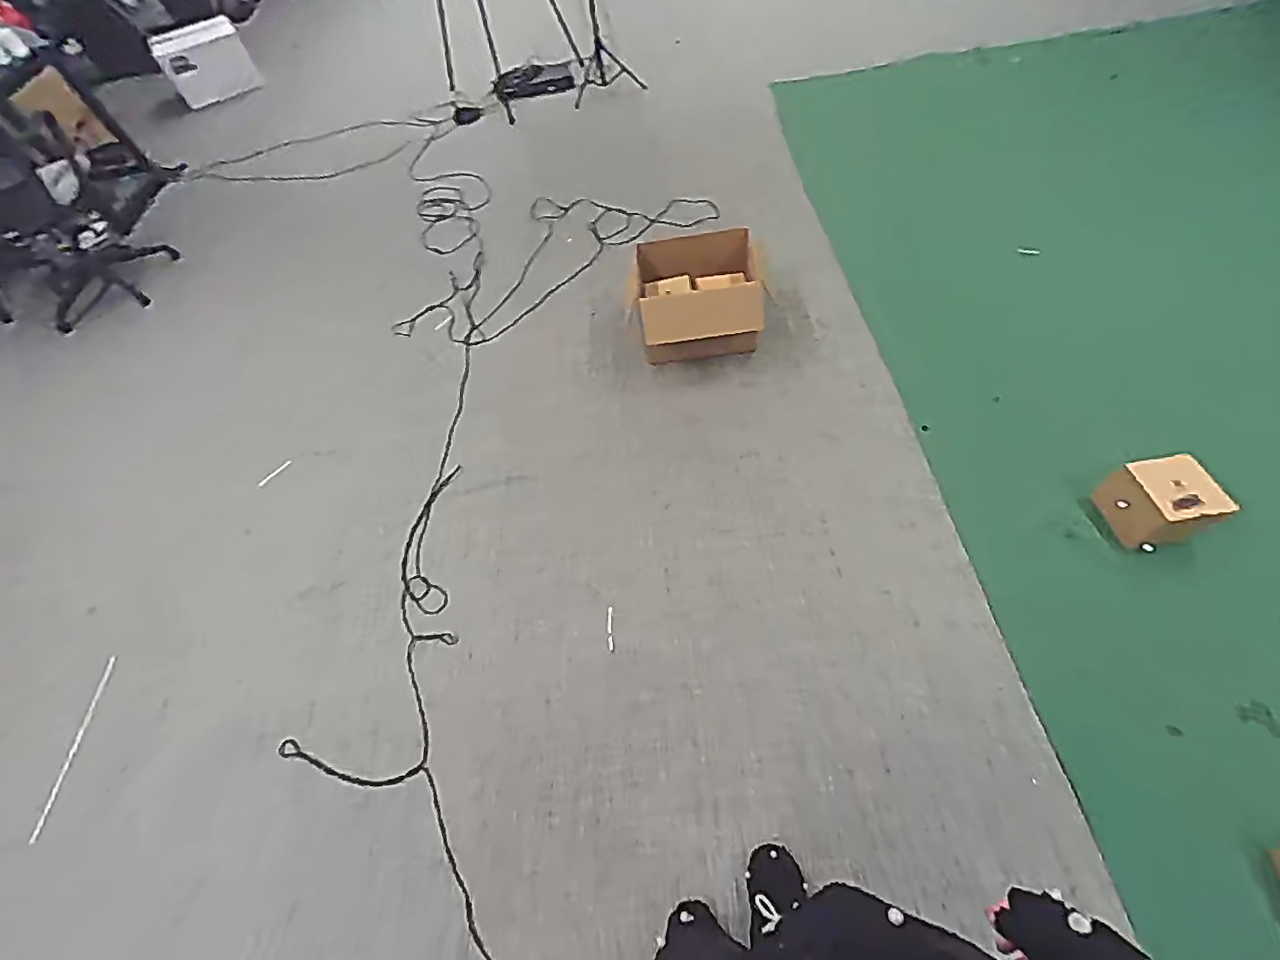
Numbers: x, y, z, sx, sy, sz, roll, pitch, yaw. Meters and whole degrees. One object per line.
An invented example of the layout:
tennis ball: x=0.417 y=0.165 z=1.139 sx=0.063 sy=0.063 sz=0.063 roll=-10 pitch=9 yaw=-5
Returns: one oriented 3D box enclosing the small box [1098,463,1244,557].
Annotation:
small box: x=1.349 y=0.085 z=1.390 sx=0.168 sy=0.176 sz=0.179 roll=-9 pitch=54 yaw=3
